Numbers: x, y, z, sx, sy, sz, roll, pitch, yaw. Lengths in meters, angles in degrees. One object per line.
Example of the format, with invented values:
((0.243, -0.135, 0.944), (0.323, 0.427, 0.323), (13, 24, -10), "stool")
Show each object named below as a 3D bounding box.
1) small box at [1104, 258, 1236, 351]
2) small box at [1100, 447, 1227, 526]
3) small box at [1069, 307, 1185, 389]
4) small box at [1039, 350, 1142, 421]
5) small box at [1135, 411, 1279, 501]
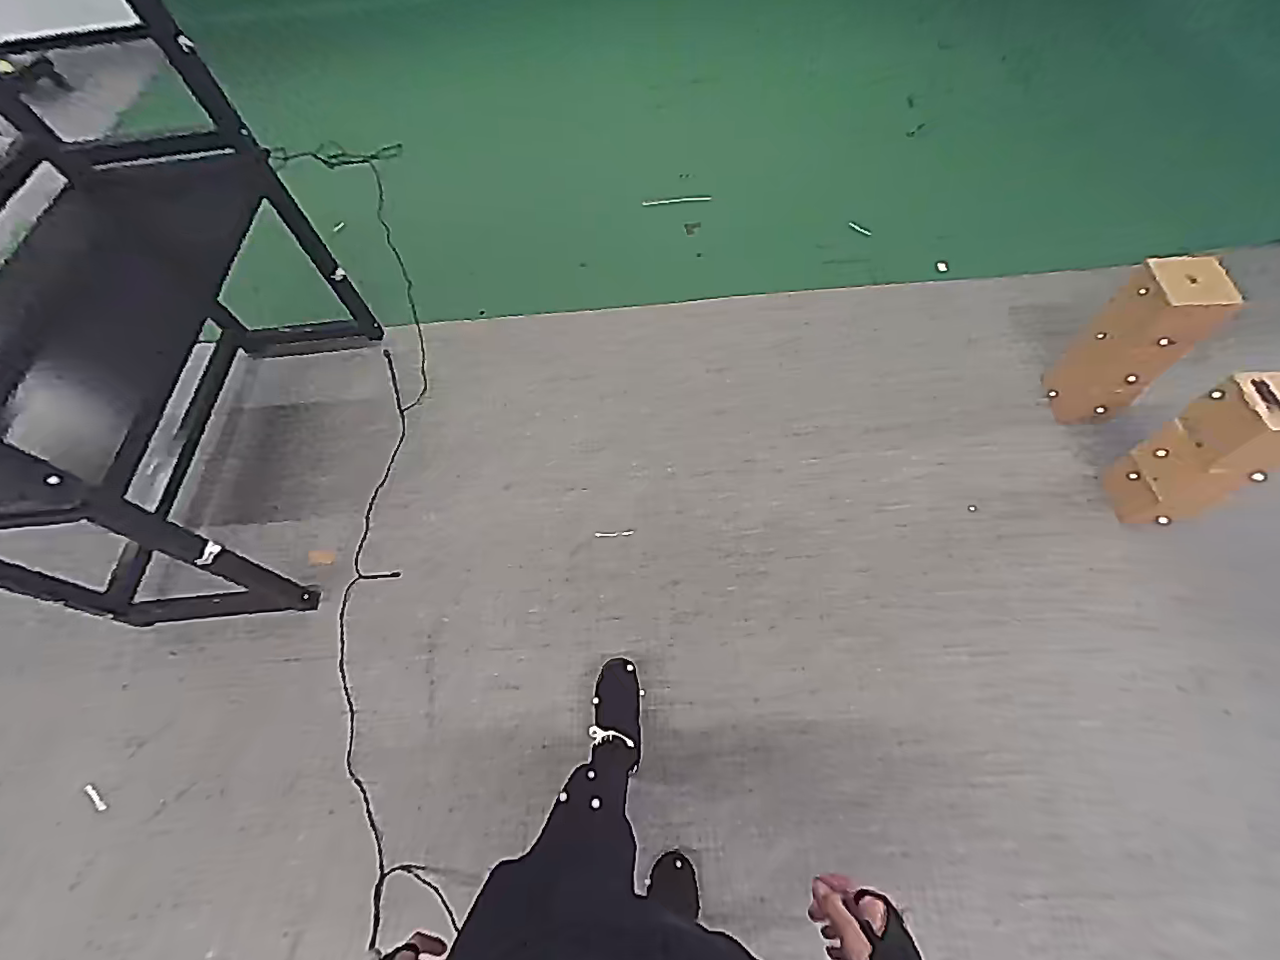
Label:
((1.415, -0.472, 1.462), (0.168, 0.176, 0.179), (1, 61, 7), "small box")
((1.486, 0.017, 1.552), (0.168, 0.176, 0.179), (-3, 61, 4), "small box")
((1.427, -0.390, 1.602), (0.168, 0.176, 0.179), (-1, 60, 5), "small box")
((1.440, -0.302, 1.741), (0.168, 0.176, 0.179), (-1, 61, 5), "small box")
((1.457, -0.056, 1.410), (0.179, 0.176, 0.168), (-6, 60, 2), "small box")
